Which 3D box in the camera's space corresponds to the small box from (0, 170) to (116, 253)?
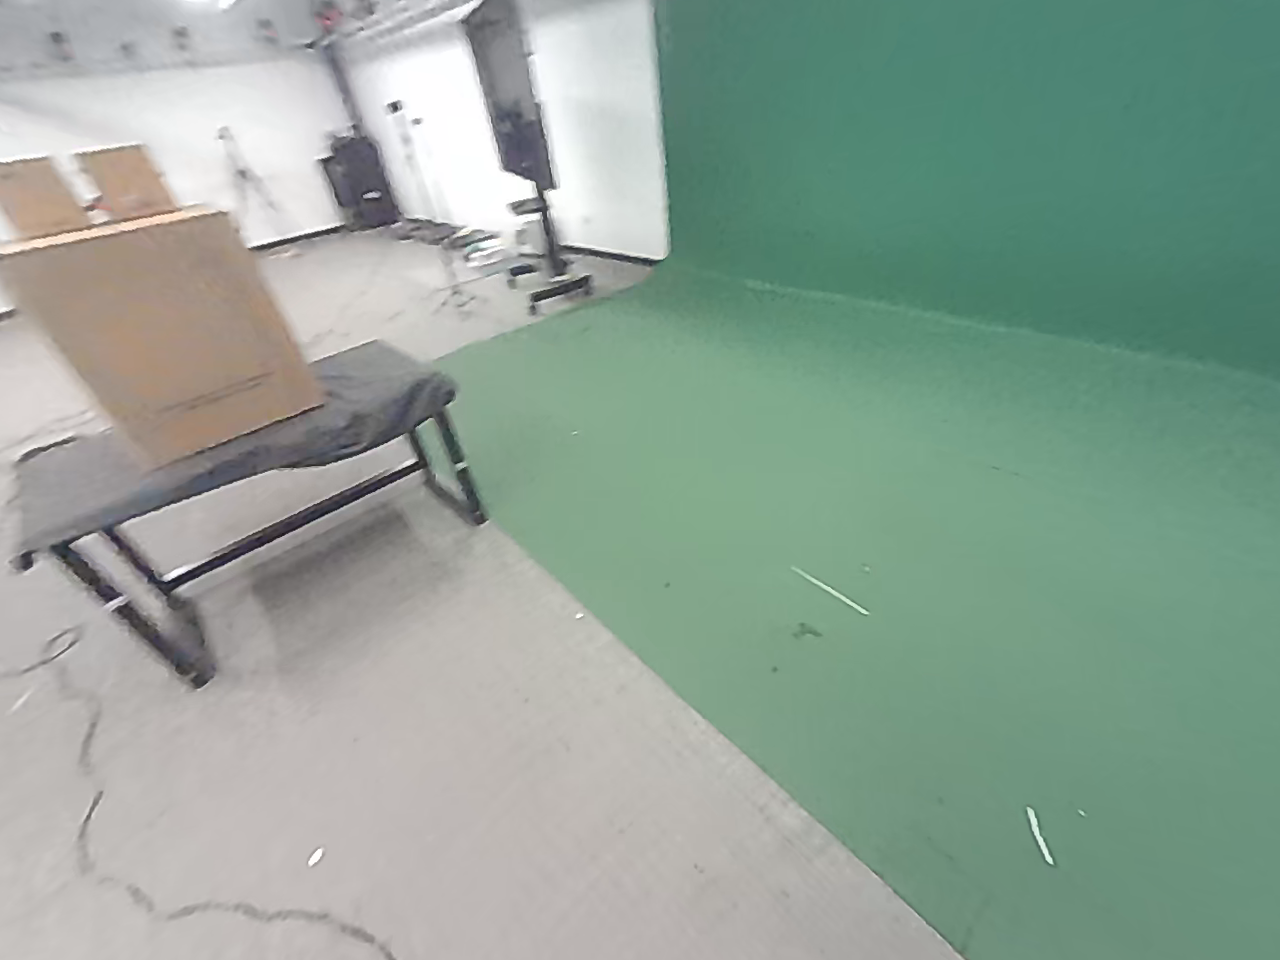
[{"bbox_3d":[-1.566,-0.721,1.457,0.168,0.176,0.179,-32,40,-28],"label":"small box"}]
